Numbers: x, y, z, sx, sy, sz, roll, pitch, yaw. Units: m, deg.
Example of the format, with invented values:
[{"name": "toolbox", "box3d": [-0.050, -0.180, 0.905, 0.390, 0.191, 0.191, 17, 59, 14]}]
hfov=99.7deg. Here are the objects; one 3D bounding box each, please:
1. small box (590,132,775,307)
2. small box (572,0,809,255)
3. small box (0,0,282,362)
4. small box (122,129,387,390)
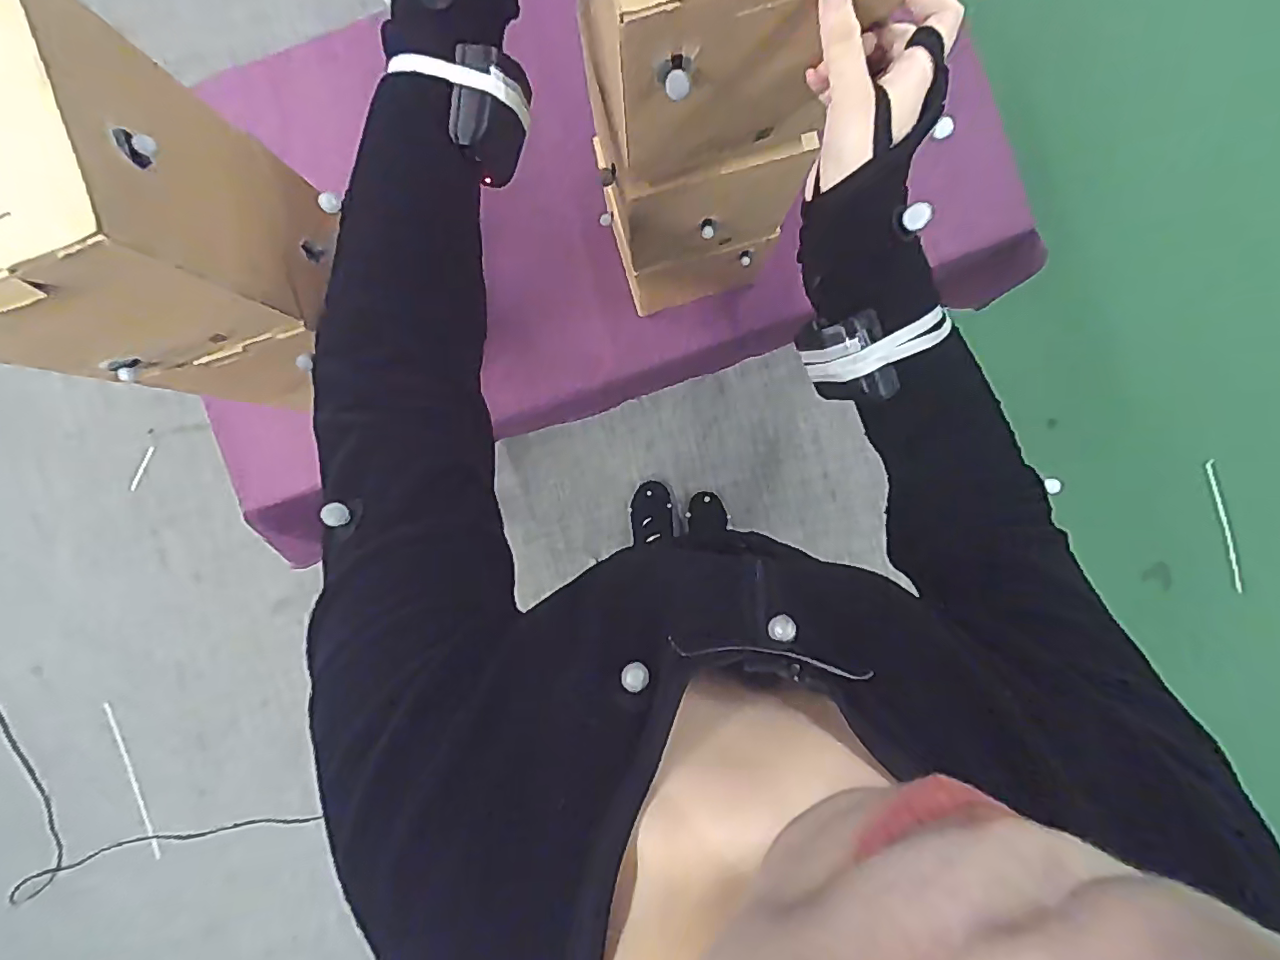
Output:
[{"name": "small box", "box3d": [0.051, -0.338, 0.686, 0.179, 0.176, 0.168, -16, 91, 2]}, {"name": "small box", "box3d": [0.044, -0.338, 0.521, 0.168, 0.176, 0.179, -14, 91, 2]}, {"name": "small box", "box3d": [-0.396, -0.193, 0.375, 0.168, 0.176, 0.179, -19, 90, 1]}, {"name": "small box", "box3d": [-0.383, -0.195, 0.539, 0.168, 0.176, 0.179, -15, 91, 2]}]
